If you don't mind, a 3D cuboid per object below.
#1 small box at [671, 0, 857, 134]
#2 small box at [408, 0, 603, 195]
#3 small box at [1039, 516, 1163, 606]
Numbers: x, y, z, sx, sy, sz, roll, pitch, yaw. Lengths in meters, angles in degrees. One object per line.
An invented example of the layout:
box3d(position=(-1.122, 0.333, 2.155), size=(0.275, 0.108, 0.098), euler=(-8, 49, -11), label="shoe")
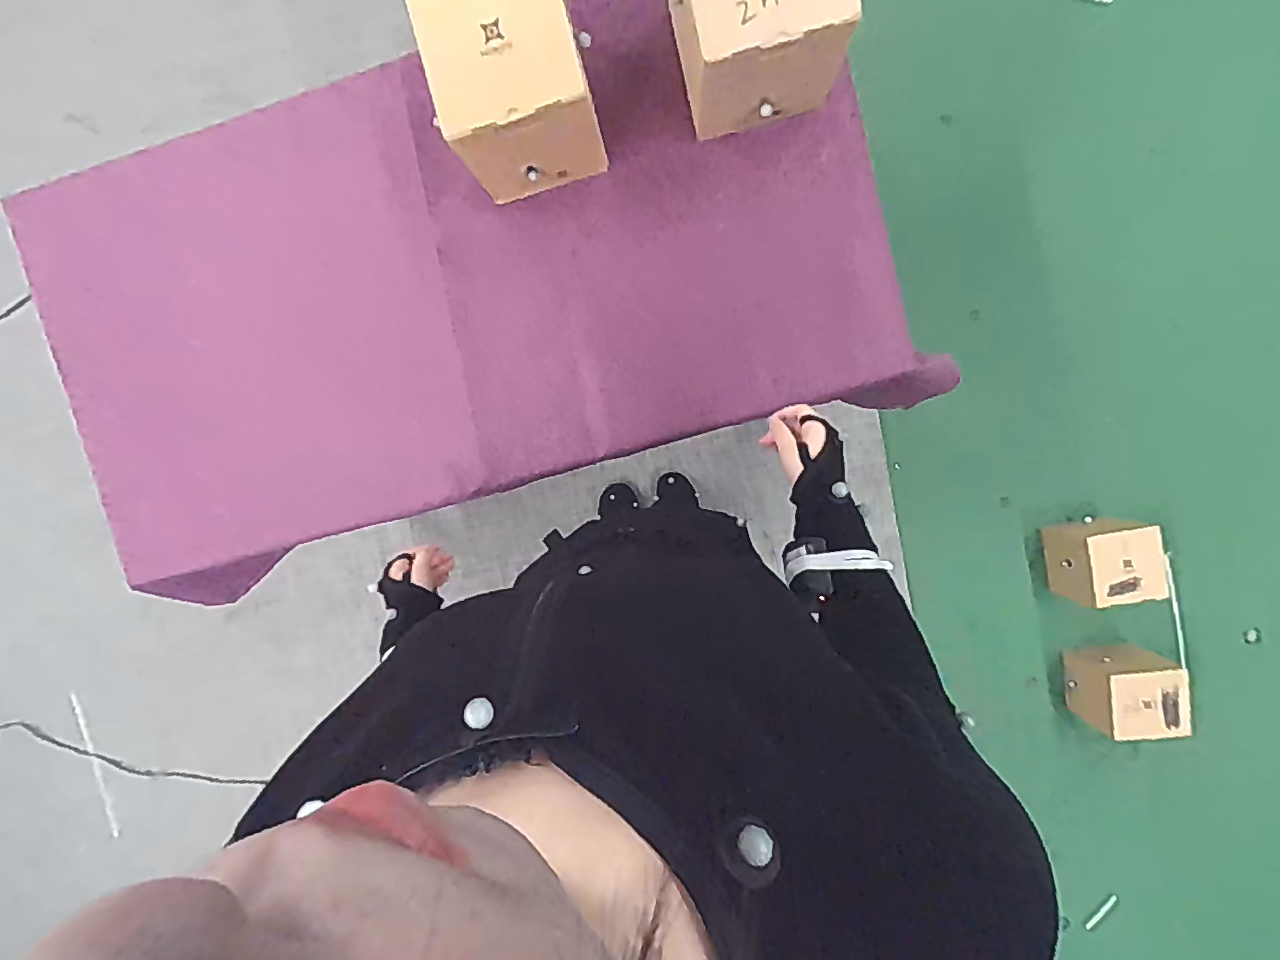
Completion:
box3d(position=(0.129, -0.547, 0.625), size=(0.168, 0.176, 0.179), euler=(-12, 97, 6), label="small box")
box3d(position=(-0.152, -0.486, 0.657), size=(0.168, 0.176, 0.179), euler=(-14, 95, 6), label="small box")
box3d(position=(1.138, 0.197, 1.347), size=(0.168, 0.176, 0.179), euler=(-10, 93, 5), label="small box")
